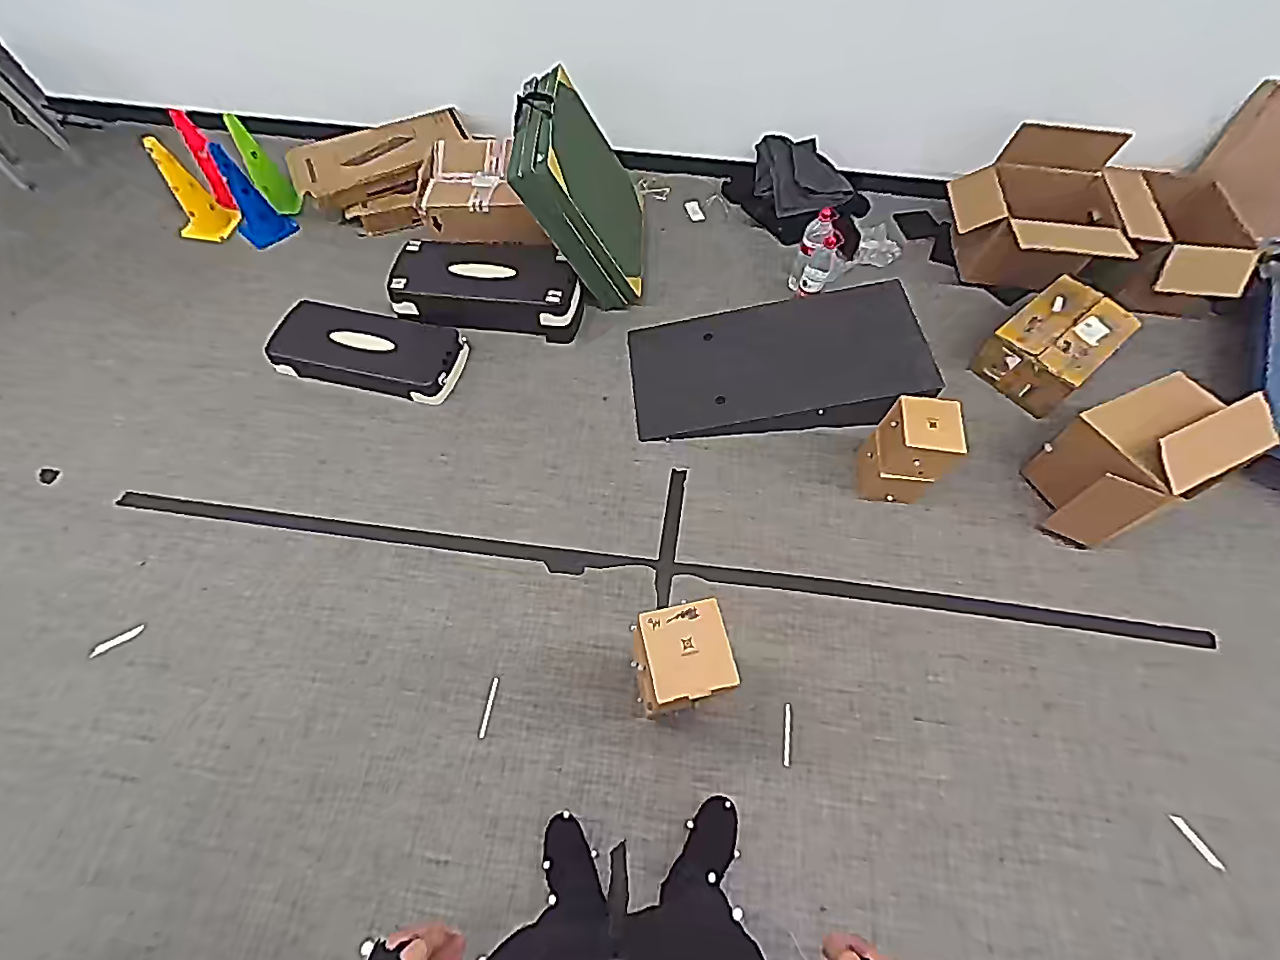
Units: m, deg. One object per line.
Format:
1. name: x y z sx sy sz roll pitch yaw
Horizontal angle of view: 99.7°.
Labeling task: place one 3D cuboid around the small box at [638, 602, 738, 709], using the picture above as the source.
1. small box: 0.092 0.374 1.133 0.168 0.176 0.179 -10 64 -7
